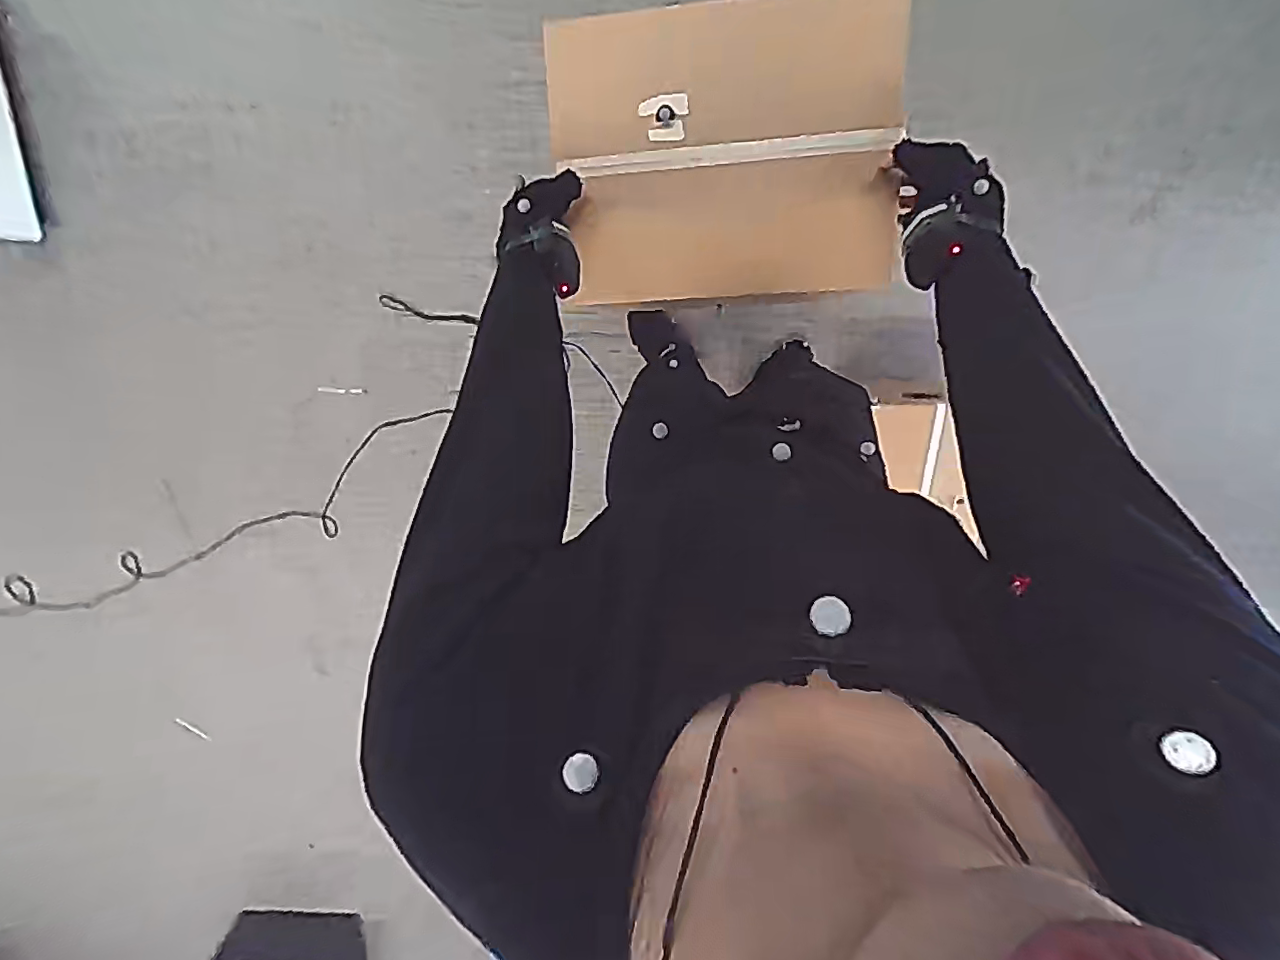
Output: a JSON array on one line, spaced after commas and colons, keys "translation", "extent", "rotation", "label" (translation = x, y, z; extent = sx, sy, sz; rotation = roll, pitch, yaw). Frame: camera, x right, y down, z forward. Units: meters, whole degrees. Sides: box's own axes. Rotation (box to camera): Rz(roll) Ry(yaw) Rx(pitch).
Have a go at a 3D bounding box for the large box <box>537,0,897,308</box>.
[{"translation": [0.108, -0.424, 0.773], "extent": [0.408, 0.320, 0.320], "rotation": [-1, 105, 8], "label": "large box"}]
